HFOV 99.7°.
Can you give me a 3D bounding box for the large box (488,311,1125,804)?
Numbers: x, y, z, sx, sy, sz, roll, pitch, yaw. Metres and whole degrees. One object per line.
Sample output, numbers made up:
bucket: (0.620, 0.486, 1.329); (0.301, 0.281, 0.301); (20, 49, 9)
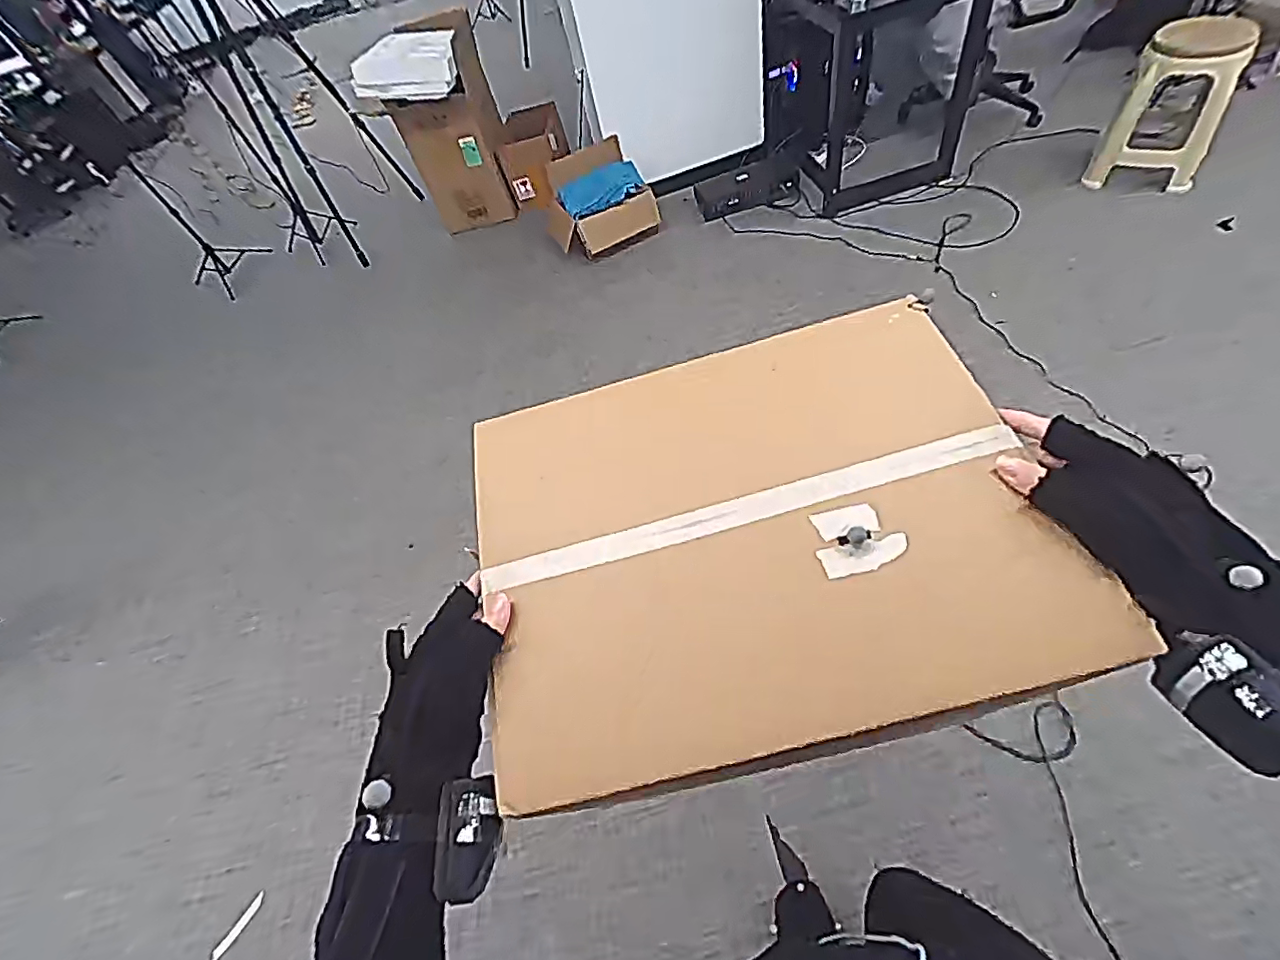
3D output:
large box: (0.105, 0.101, 0.543); (0.408, 0.320, 0.320); (-16, 59, 3)
